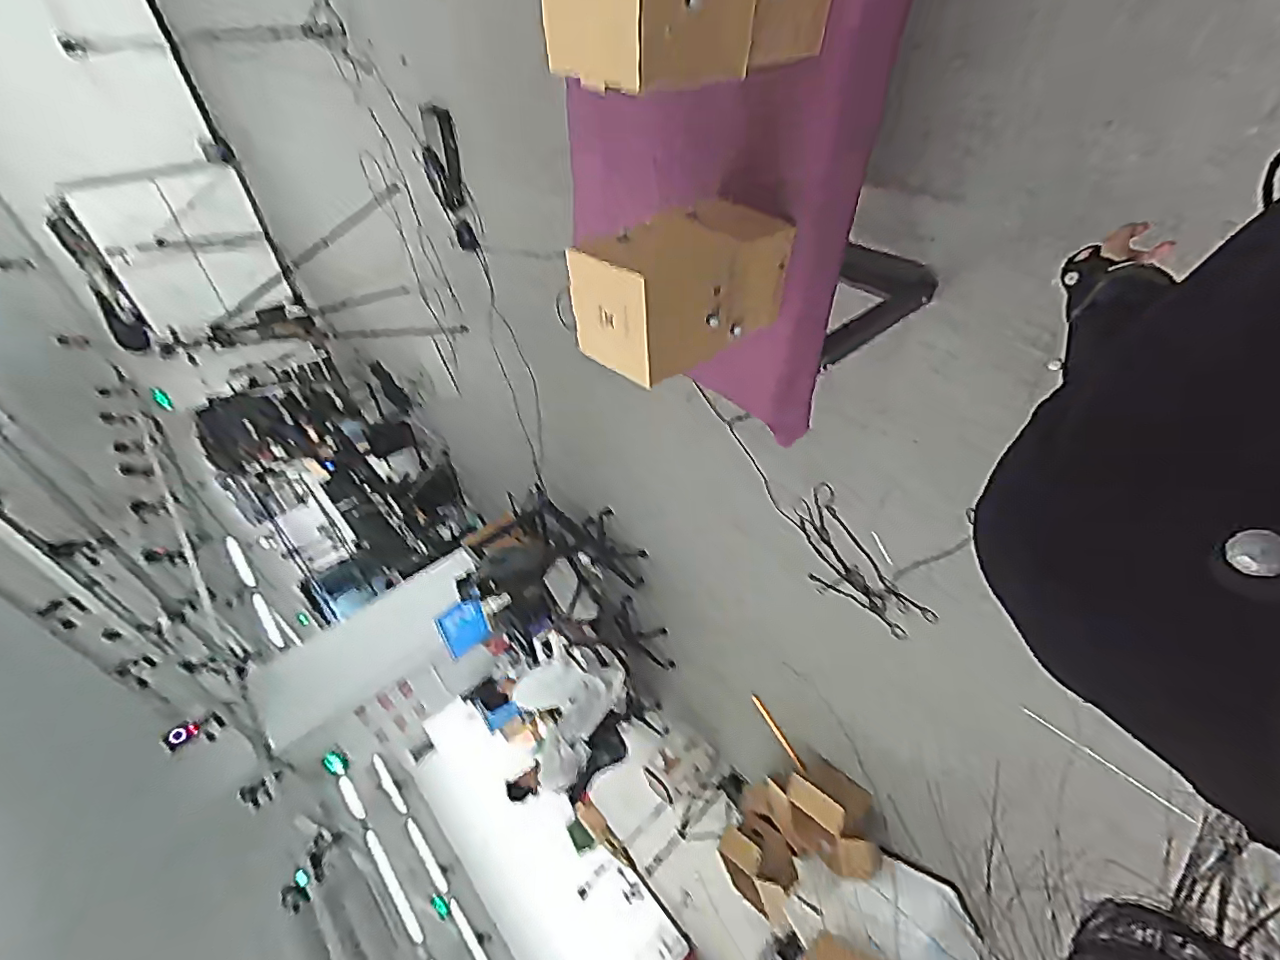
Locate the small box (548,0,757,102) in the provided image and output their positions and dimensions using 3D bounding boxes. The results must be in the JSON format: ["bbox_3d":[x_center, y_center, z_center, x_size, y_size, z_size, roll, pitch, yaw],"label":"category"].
[{"bbox_3d":[0.016,-0.529,0.571,0.168,0.176,0.179,38,147,32],"label":"small box"}]

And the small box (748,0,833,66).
[{"bbox_3d":[0.128,-0.619,0.650,0.168,0.176,0.179,39,146,31],"label":"small box"}]

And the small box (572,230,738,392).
[{"bbox_3d":[0.023,-0.263,0.817,0.179,0.176,0.168,35,144,36],"label":"small box"}]
